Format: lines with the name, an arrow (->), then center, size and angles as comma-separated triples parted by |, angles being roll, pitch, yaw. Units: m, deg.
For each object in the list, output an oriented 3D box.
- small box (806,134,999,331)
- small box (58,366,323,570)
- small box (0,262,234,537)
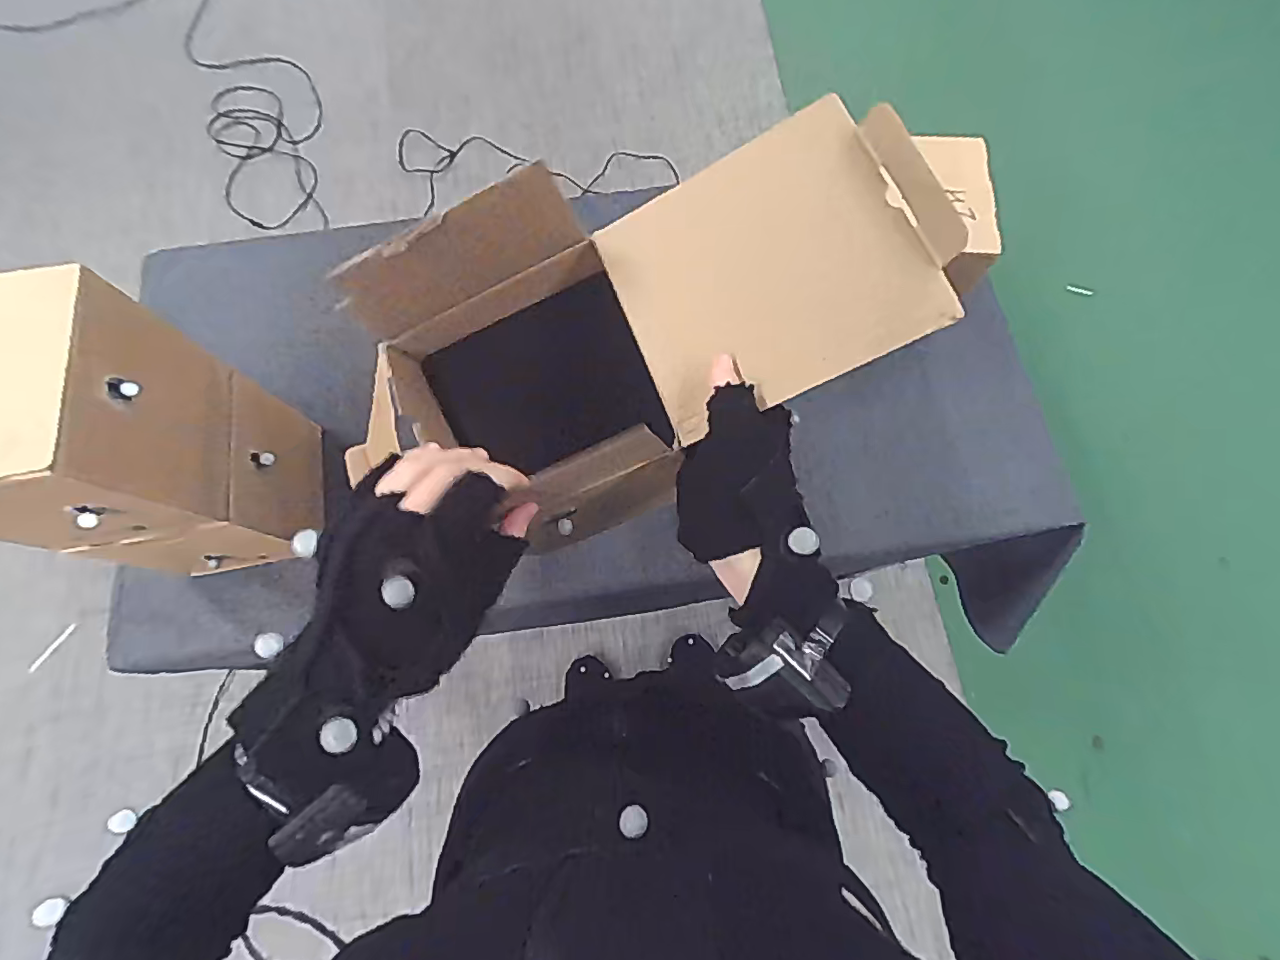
small box -> 0.321, -0.310, 0.702 | 0.179, 0.176, 0.168 | 3, 74, 2
small box -> -0.493, -0.005, 0.624 | 0.168, 0.176, 0.179 | -10, 74, -3
small box -> -0.494, -0.053, 0.468 | 0.168, 0.176, 0.179 | -8, 73, -3
